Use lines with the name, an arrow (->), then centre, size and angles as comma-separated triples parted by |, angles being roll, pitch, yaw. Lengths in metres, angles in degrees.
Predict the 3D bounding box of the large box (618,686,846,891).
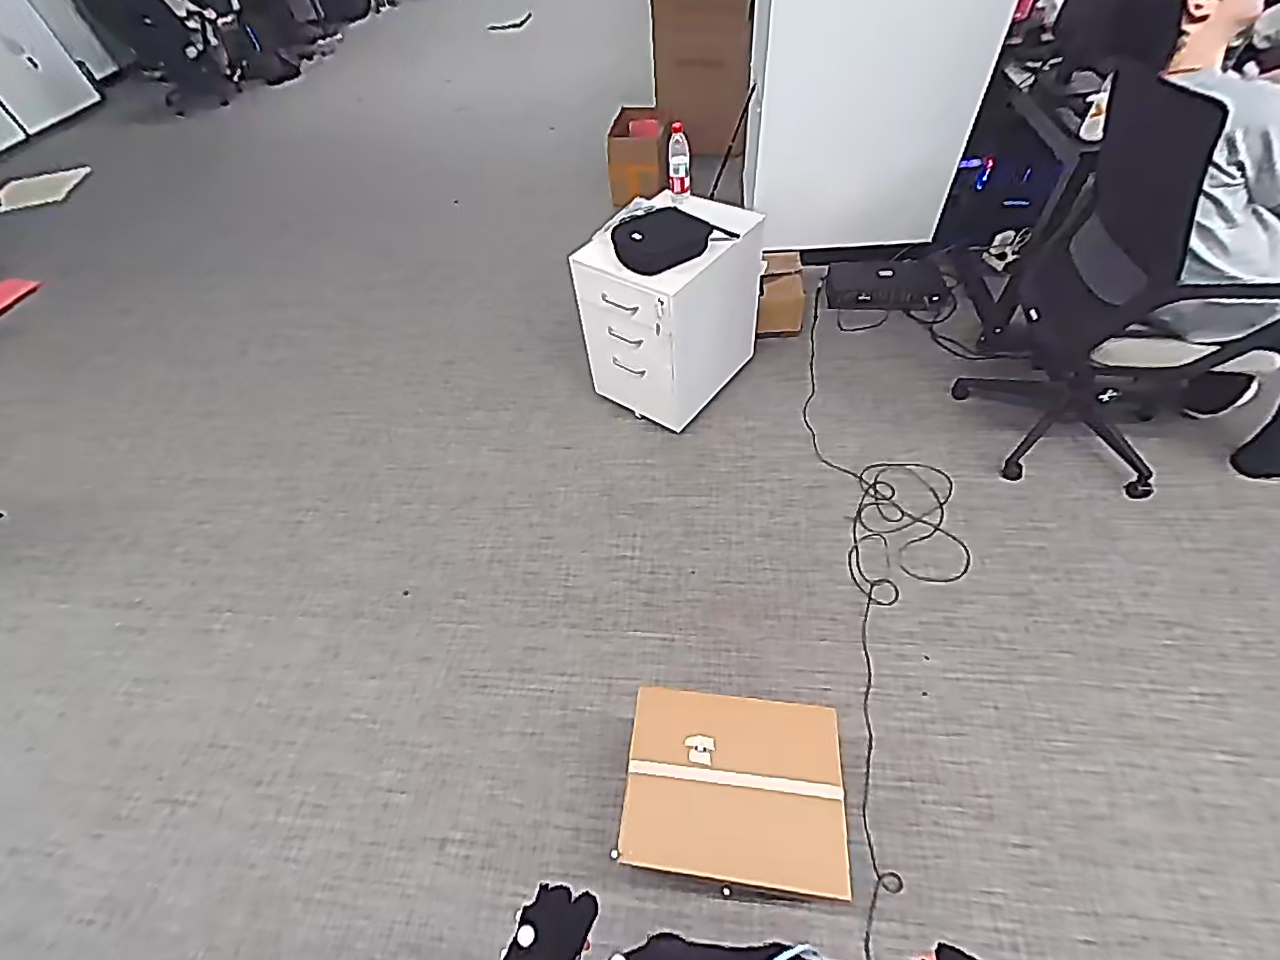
large box -> 0.189, 0.658, 1.153 | 0.408, 0.320, 0.320 | 3, 52, 9
